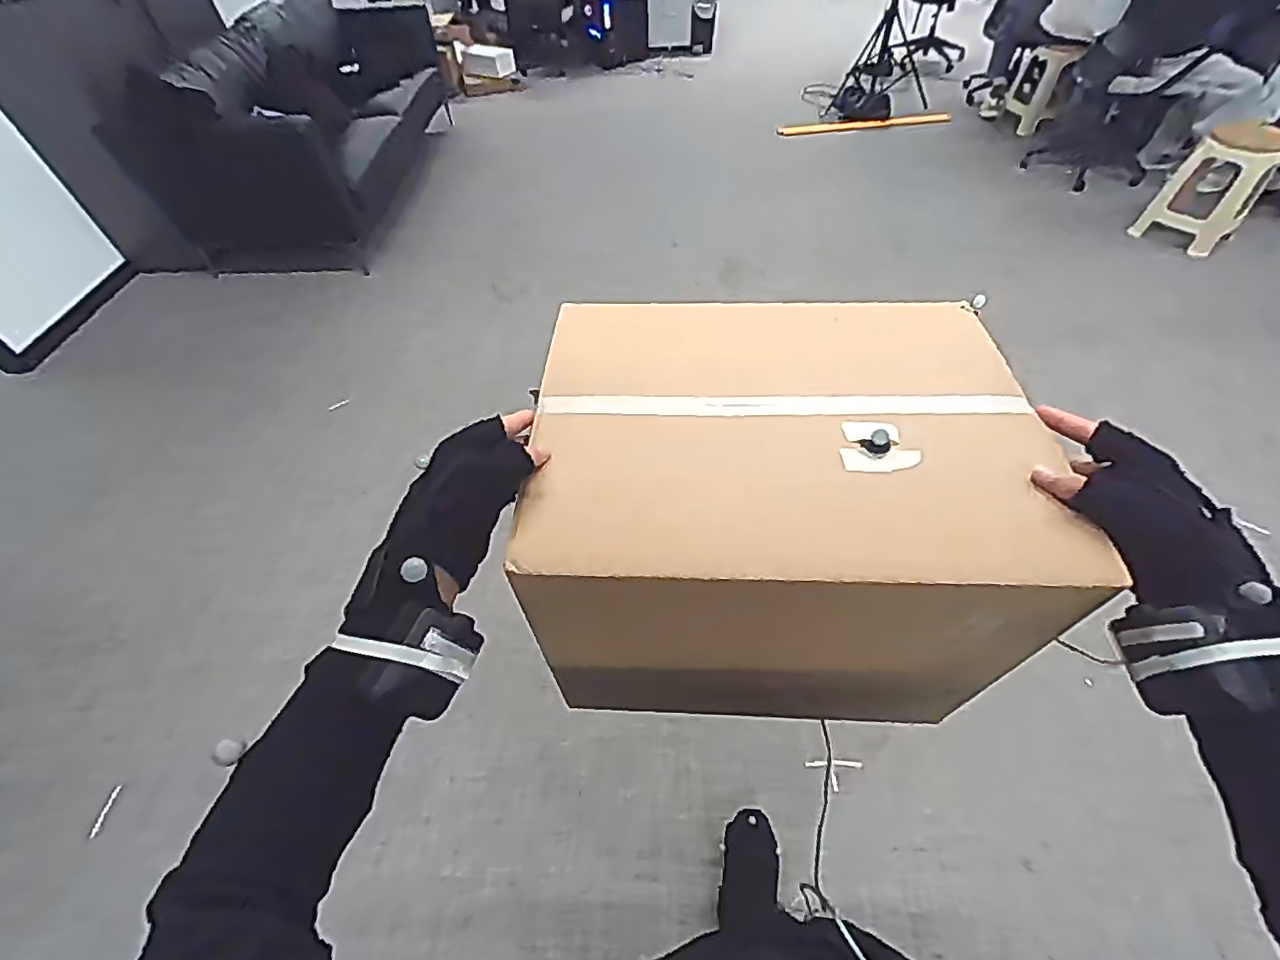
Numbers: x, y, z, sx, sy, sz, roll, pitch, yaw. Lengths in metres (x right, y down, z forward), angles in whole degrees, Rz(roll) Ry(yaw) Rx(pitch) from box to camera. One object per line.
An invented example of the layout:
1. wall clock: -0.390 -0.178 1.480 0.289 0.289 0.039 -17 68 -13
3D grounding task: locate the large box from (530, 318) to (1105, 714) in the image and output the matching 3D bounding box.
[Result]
1. large box: 0.124 0.045 0.579 0.408 0.320 0.320 1 51 2
